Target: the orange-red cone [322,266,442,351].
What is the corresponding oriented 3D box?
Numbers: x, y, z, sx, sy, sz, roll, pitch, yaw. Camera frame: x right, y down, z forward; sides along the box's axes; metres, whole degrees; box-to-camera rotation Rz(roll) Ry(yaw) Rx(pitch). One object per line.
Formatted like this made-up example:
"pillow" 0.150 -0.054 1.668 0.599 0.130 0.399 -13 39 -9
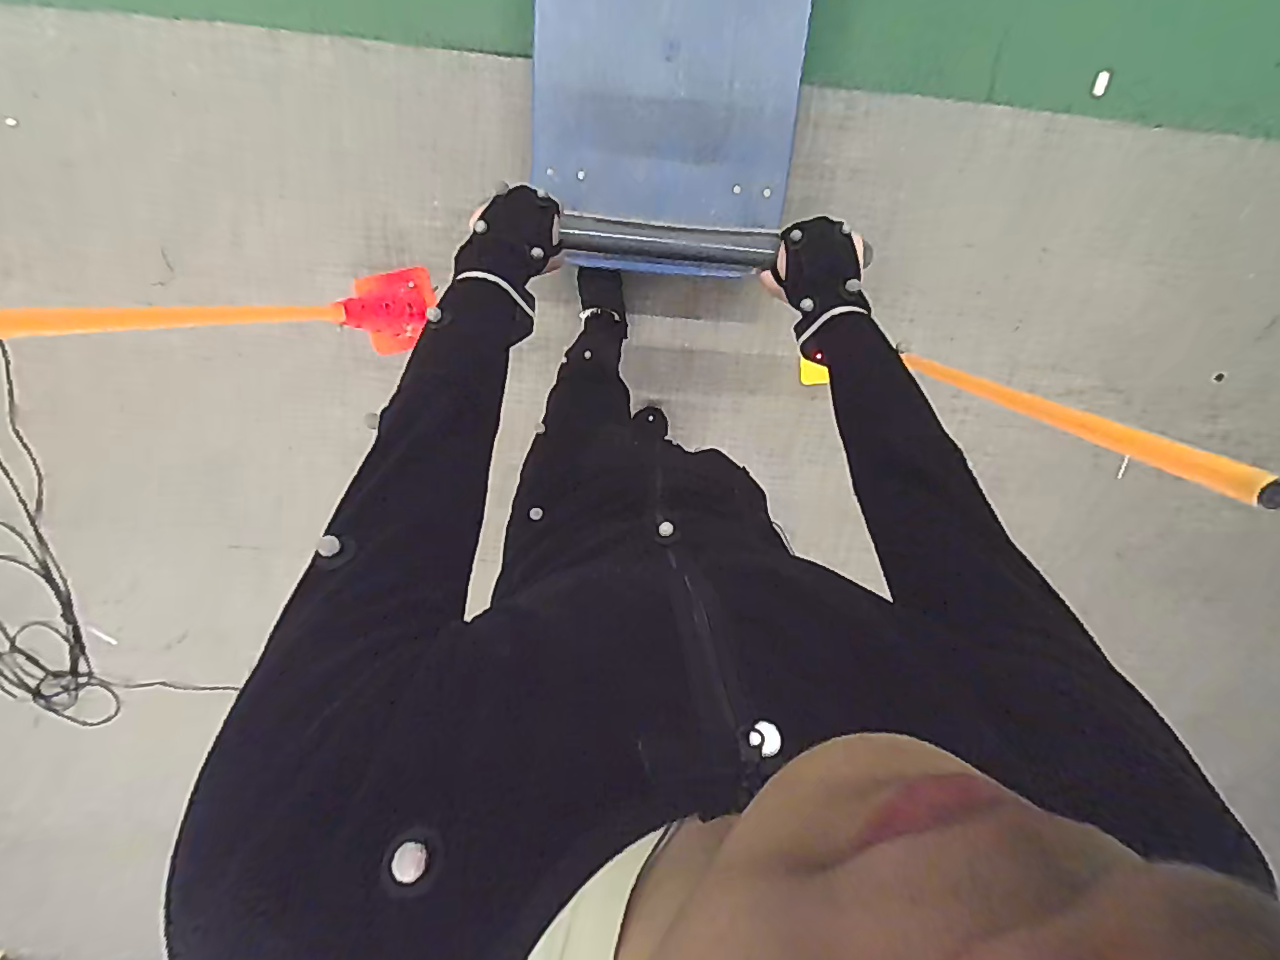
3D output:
"orange-red cone" -0.632 -0.398 1.262 0.199 0.360 0.198 -10 108 2
